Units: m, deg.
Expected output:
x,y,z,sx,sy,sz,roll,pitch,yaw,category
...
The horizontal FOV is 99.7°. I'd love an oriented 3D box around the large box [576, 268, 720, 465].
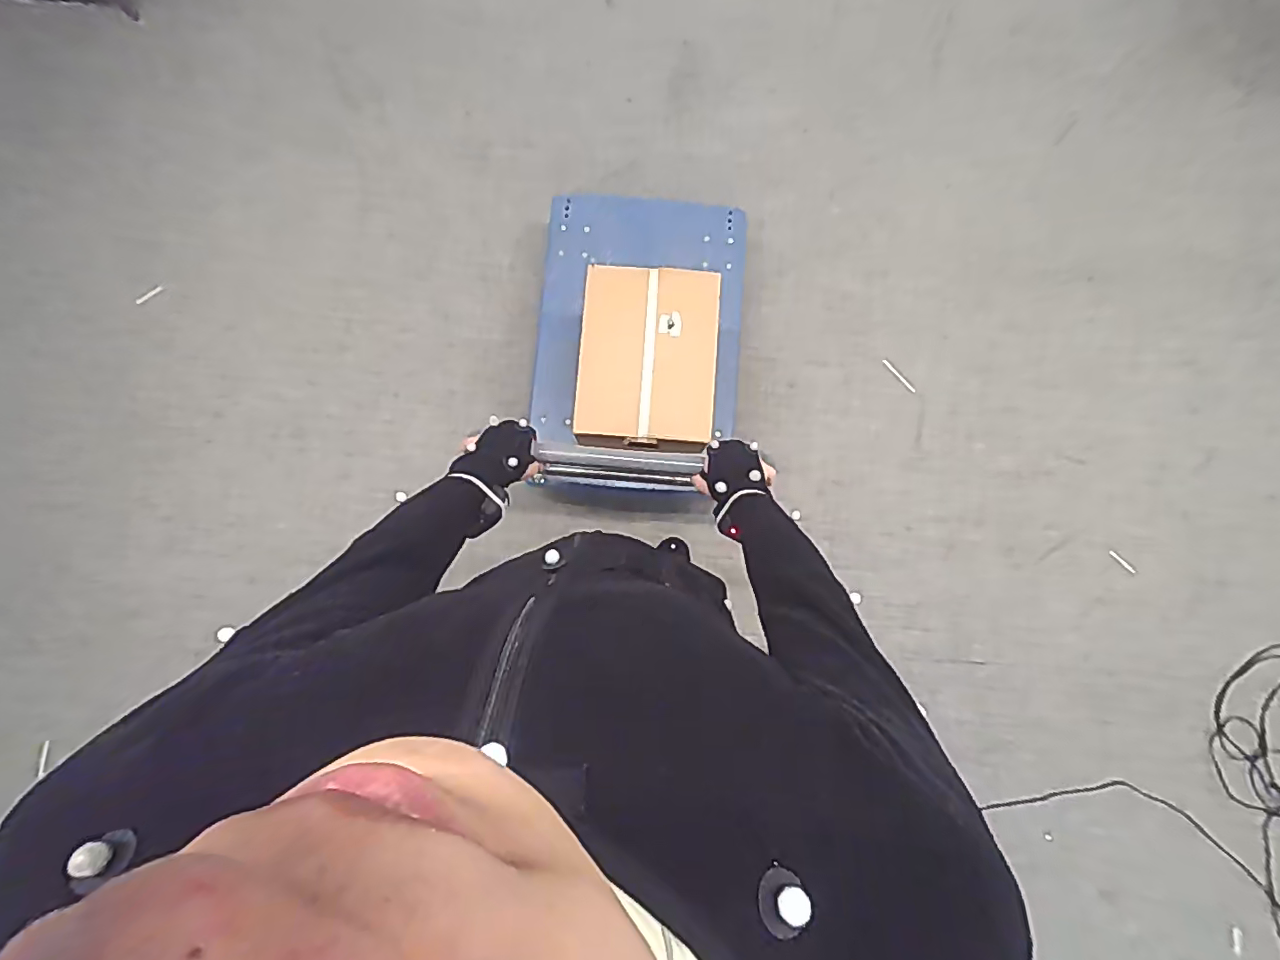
x,y,z,sx,sy,sz,roll,pitch,yaw,category
0.022,-0.262,1.364,0.320,0.320,0.408,4,82,-1,large box
